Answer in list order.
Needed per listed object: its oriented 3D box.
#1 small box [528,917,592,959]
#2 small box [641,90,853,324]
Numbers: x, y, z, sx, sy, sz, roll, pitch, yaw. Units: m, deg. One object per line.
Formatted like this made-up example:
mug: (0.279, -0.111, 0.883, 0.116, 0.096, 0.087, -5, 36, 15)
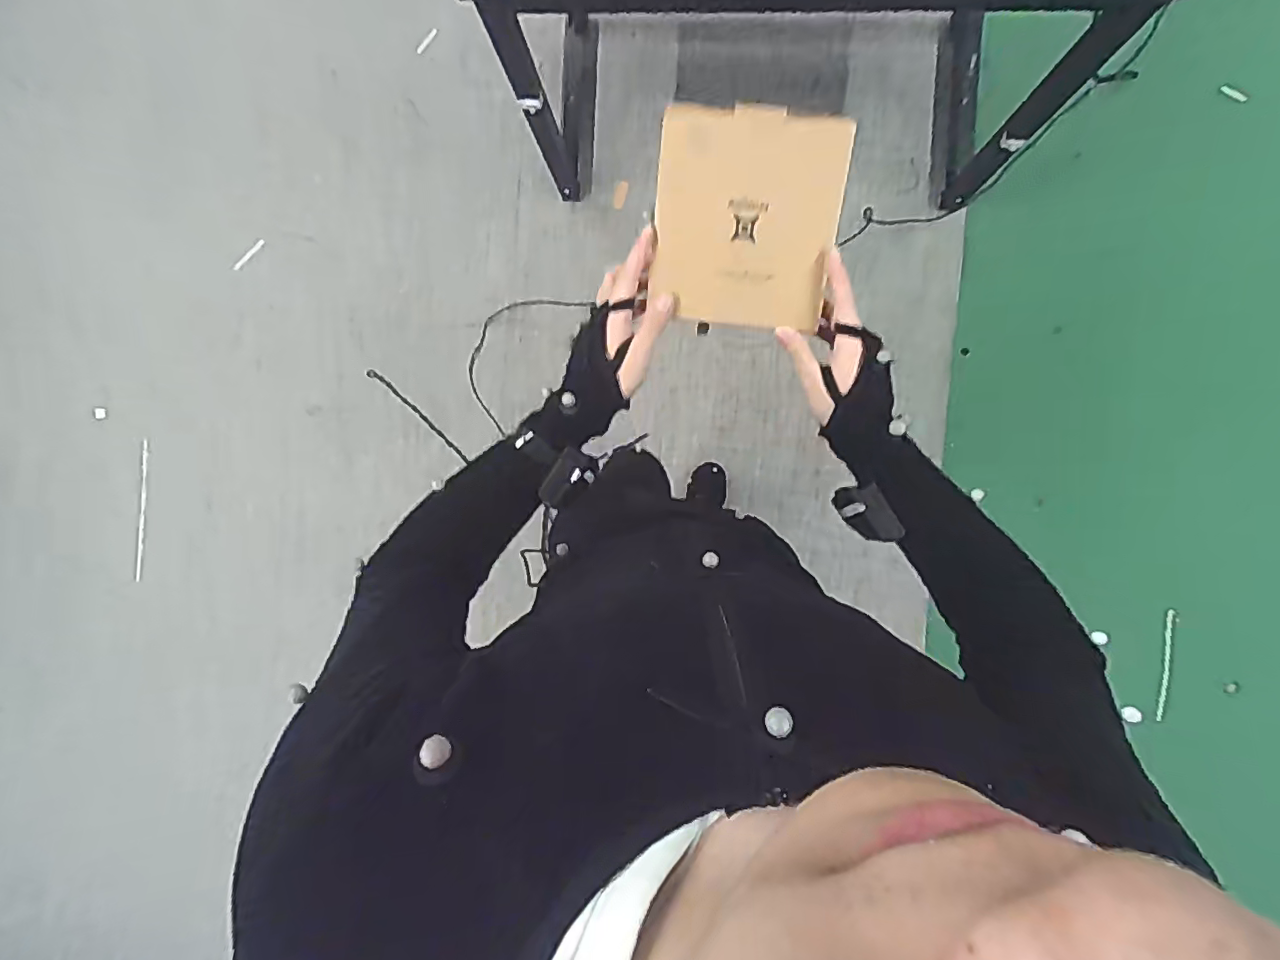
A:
small box: (-0.236, 1.403, 1.540, 0.168, 0.176, 0.179, 8, 91, 4)
small box: (0.094, -0.262, 0.554, 0.168, 0.176, 0.179, 6, 109, 2)
